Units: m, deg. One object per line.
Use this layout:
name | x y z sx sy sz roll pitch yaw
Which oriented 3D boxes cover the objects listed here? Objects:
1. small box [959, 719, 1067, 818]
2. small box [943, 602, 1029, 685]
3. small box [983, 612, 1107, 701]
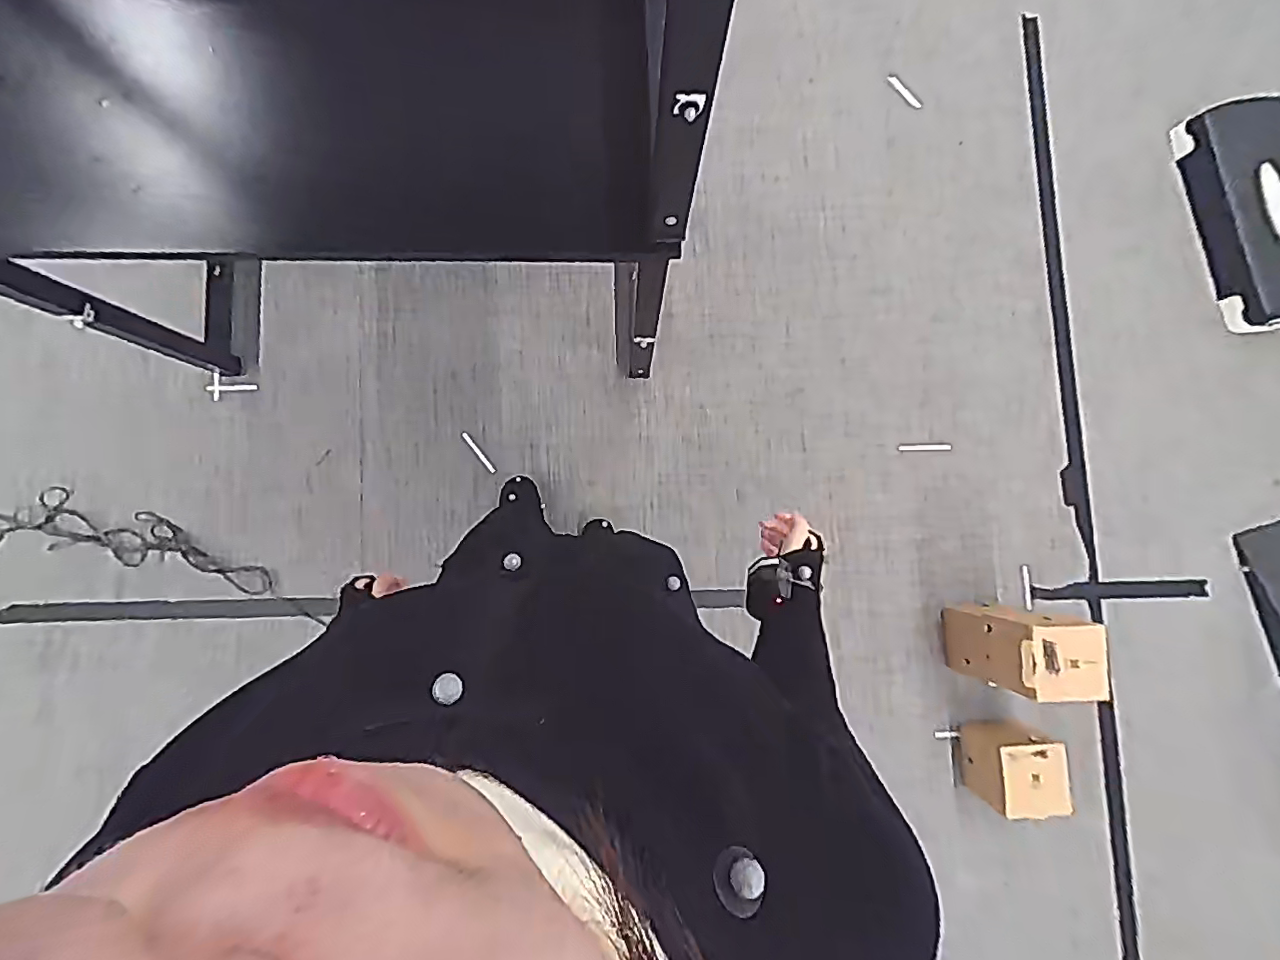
small box | 0.964 0.745 1.410 0.168 0.176 0.179 -2 87 -3
small box | 0.934 0.428 1.431 0.168 0.176 0.179 -2 86 -3
small box | 0.937 0.407 1.268 0.179 0.176 0.168 0 87 -4
